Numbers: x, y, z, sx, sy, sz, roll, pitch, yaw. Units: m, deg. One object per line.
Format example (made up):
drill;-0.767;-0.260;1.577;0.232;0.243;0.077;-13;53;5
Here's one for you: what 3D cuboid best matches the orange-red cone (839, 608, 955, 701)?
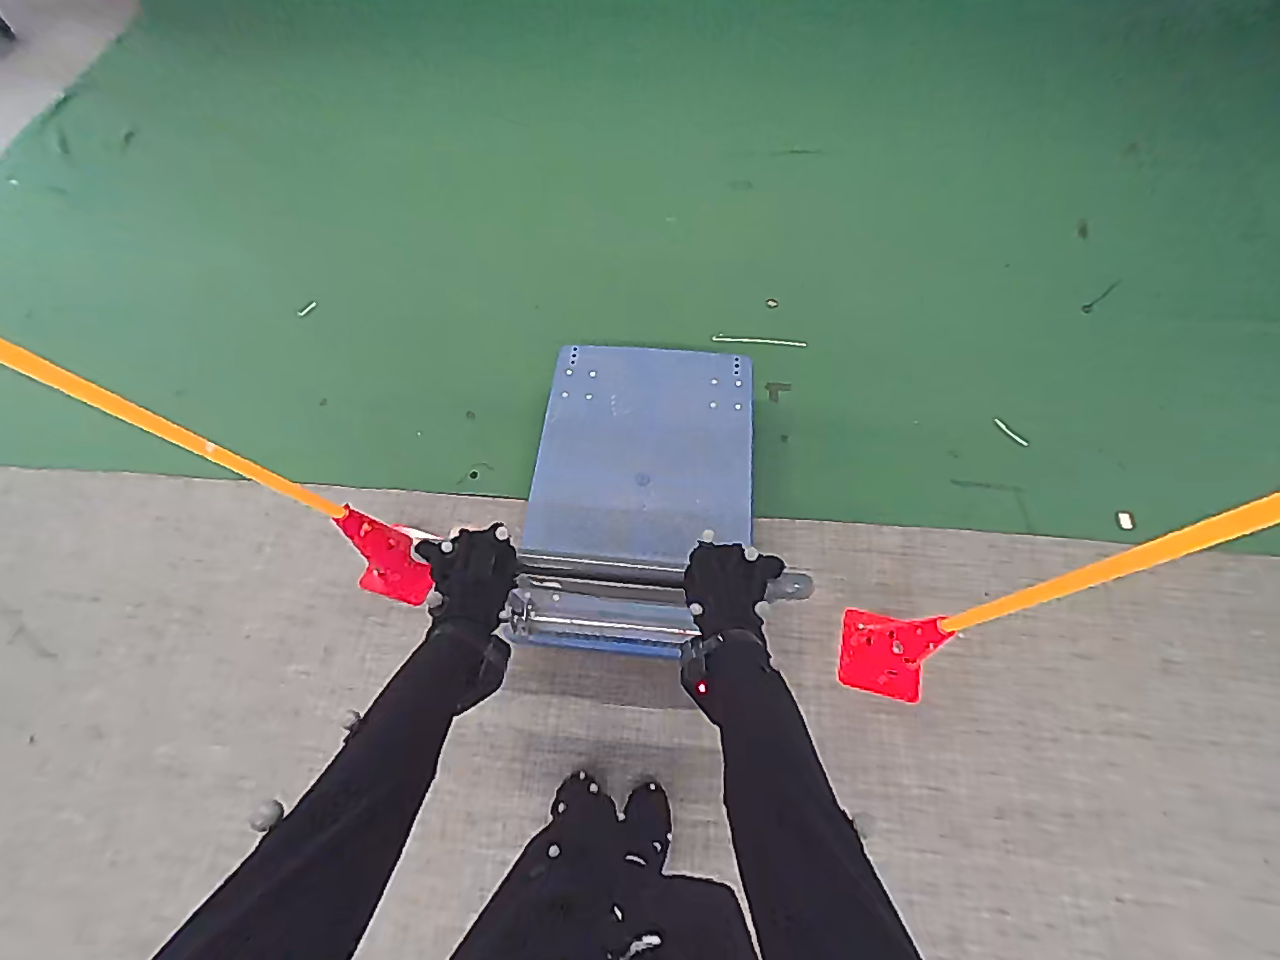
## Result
orange-red cone;0.609;0.363;1.220;0.198;0.360;0.199;14;65;9
